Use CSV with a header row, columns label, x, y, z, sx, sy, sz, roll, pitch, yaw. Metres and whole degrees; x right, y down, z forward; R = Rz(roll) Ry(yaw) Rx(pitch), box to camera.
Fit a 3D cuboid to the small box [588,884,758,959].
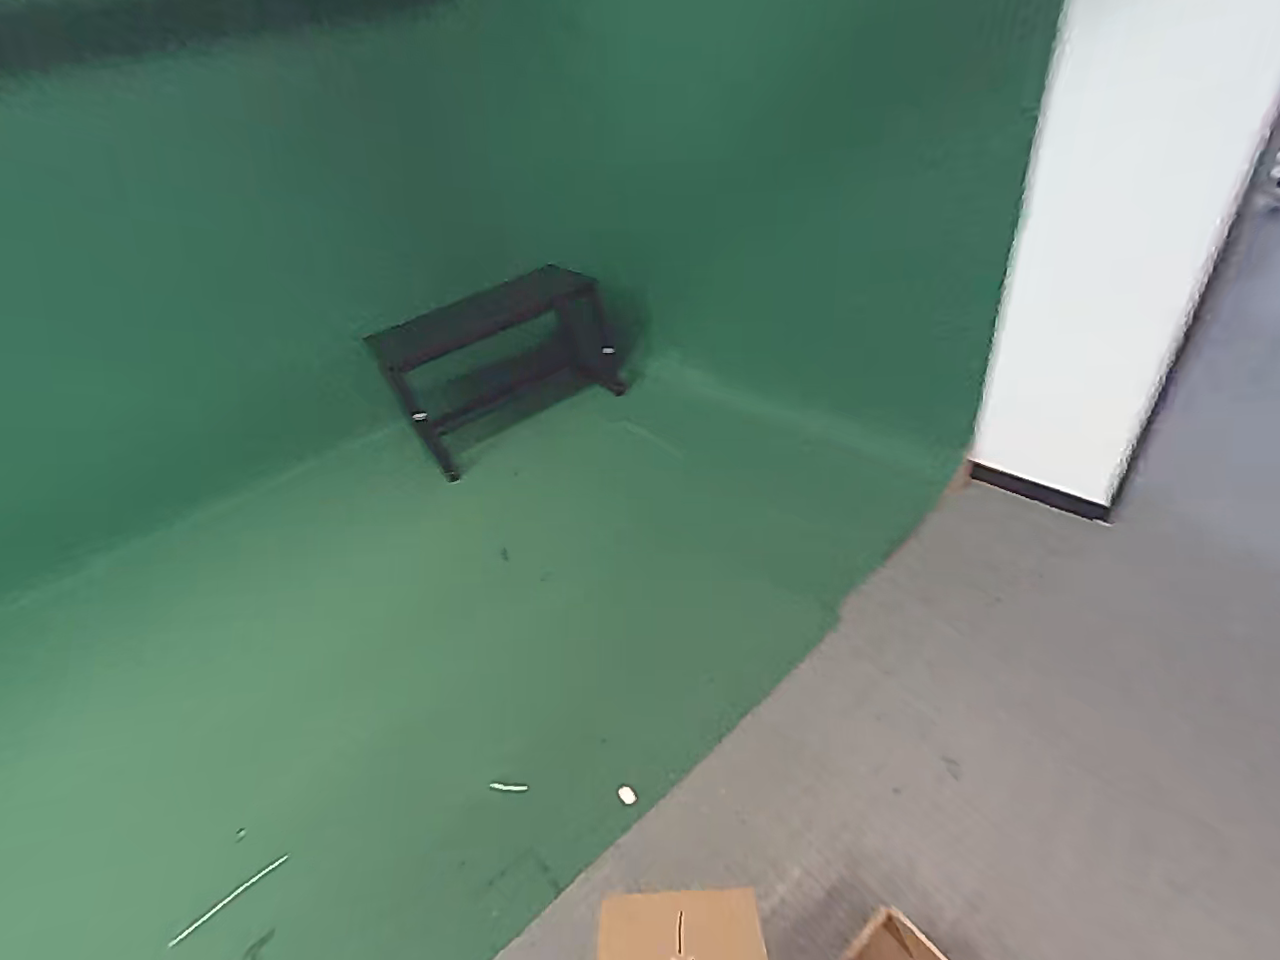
label,x,y,z,sx,sy,sz,roll,pitch,yaw
small box,0.038,0.536,0.514,0.168,0.176,0.179,-5,14,2
